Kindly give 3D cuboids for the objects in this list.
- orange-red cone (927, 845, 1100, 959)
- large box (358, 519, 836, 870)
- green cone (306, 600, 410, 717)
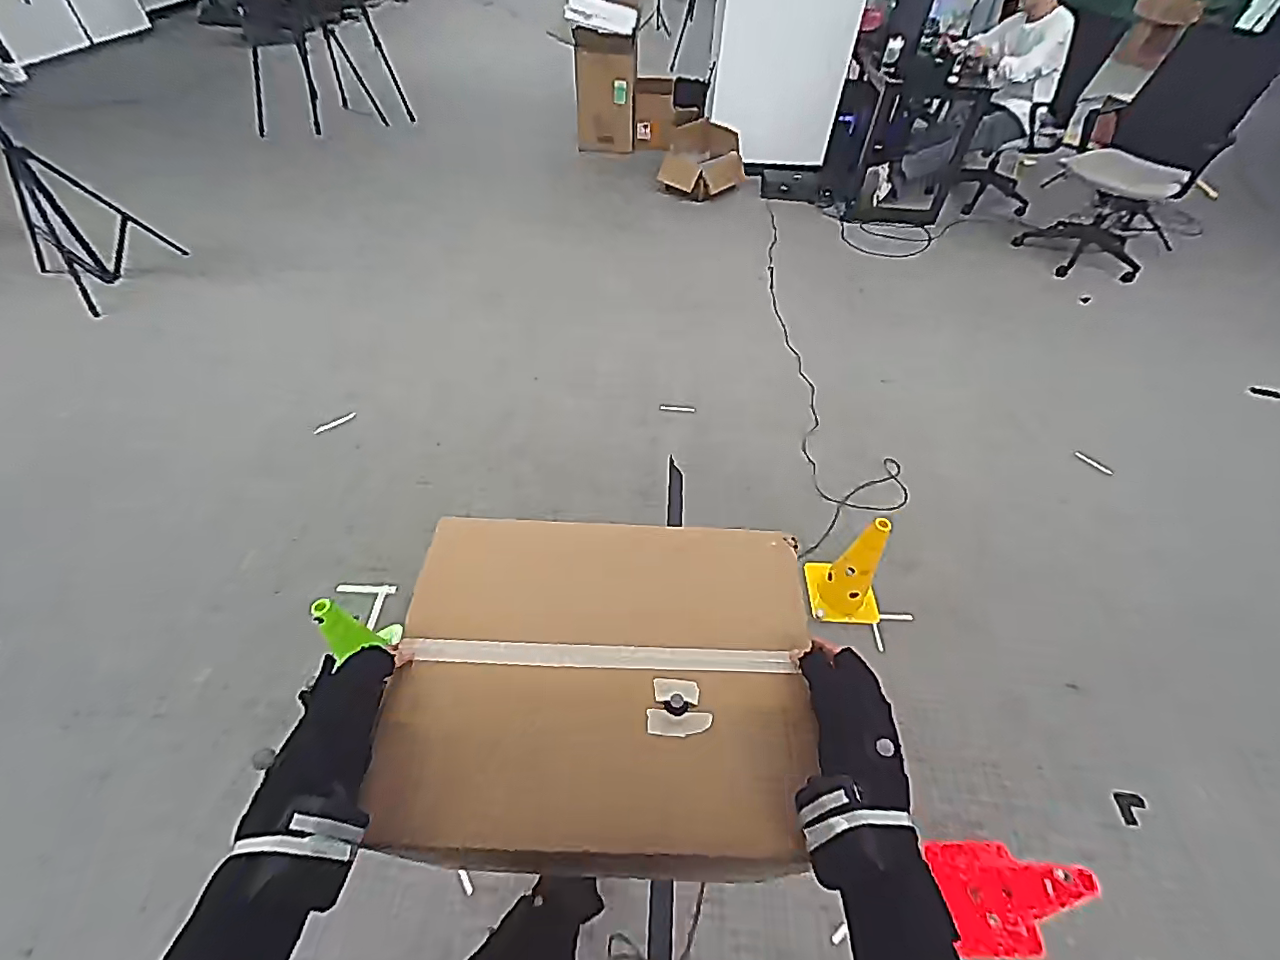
[{"bbox_3d":[0.745,0.790,1.039,0.198,0.360,0.199,2,47,-2],"label":"orange-red cone"},{"bbox_3d":[-0.038,0.265,0.651,0.408,0.320,0.320,3,51,-1],"label":"large box"},{"bbox_3d":[-0.712,0.392,1.327,0.202,0.368,0.200,-27,54,-22],"label":"green cone"}]
